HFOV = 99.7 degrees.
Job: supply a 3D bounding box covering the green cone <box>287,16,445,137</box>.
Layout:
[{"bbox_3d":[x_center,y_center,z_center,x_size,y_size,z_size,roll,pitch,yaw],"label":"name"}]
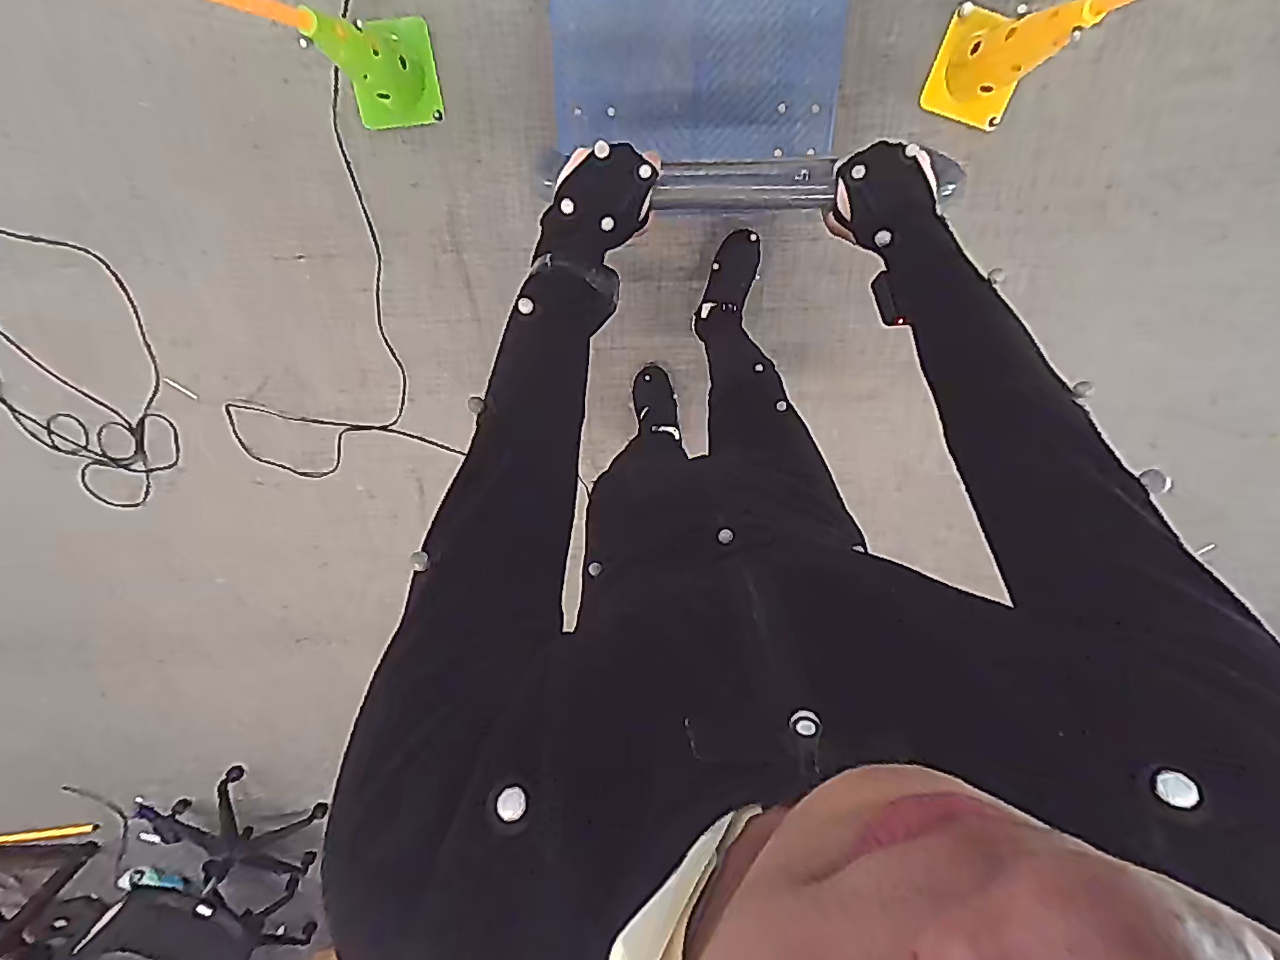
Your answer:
[{"bbox_3d":[-0.571,-0.846,1.085,0.202,0.368,0.200,-4,113,5],"label":"green cone"}]
